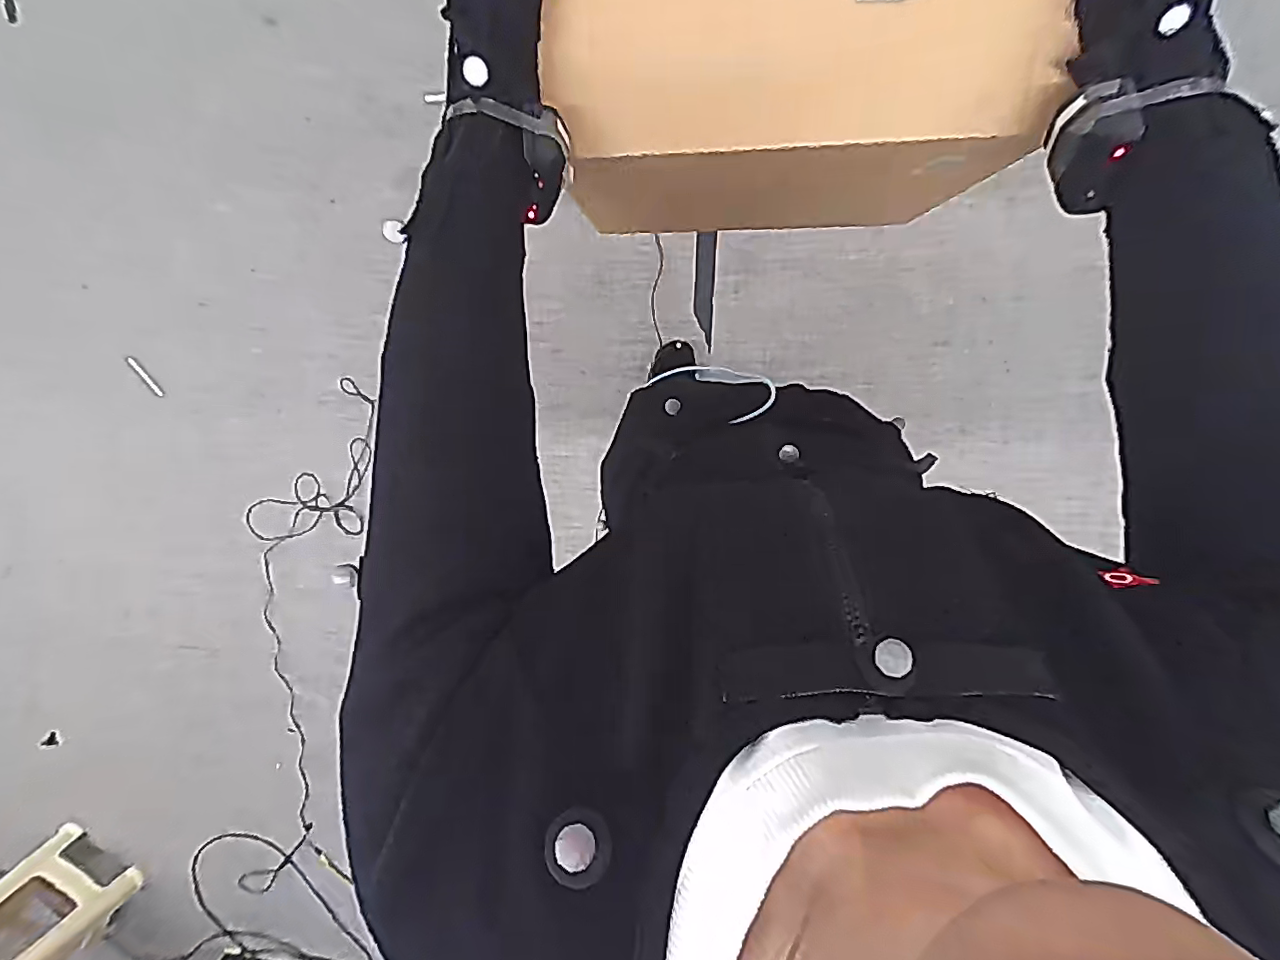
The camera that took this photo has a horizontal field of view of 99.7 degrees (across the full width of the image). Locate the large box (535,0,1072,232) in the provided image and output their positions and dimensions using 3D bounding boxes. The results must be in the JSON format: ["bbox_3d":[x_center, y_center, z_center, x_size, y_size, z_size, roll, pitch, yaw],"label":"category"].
[{"bbox_3d":[0.122,-0.451,0.534,0.408,0.320,0.320,-1,104,4],"label":"large box"}]
